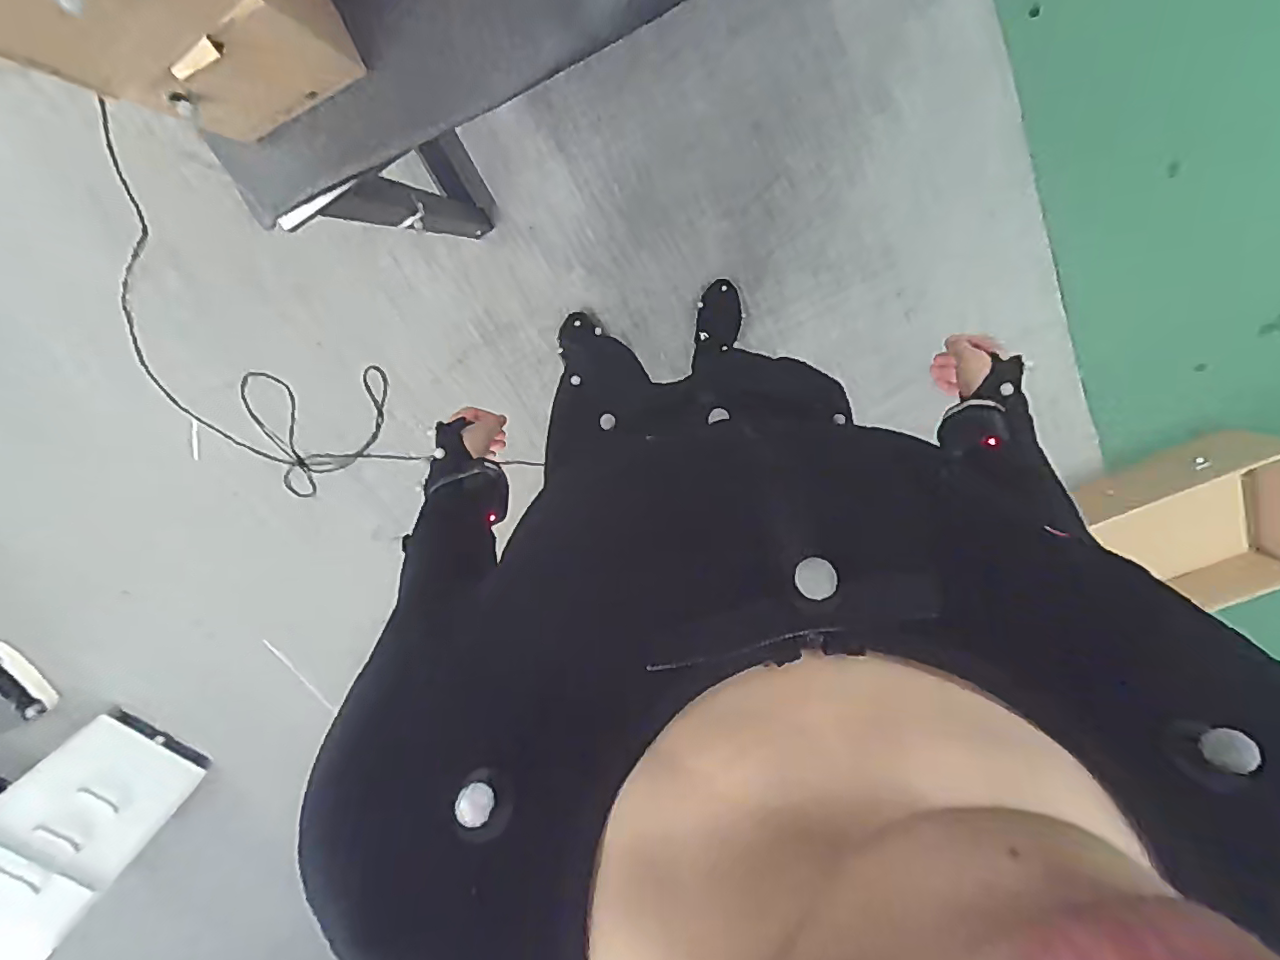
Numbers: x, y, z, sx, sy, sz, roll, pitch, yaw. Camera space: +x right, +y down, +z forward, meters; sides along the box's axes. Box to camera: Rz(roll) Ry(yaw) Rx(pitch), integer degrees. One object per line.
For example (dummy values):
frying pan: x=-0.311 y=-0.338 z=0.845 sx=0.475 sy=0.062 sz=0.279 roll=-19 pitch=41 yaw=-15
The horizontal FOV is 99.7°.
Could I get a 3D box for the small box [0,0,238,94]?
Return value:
small box: x=-0.403 y=-0.394 z=0.341 sx=0.179 sy=0.176 sz=0.168 roll=-29 pitch=106 yaw=12
